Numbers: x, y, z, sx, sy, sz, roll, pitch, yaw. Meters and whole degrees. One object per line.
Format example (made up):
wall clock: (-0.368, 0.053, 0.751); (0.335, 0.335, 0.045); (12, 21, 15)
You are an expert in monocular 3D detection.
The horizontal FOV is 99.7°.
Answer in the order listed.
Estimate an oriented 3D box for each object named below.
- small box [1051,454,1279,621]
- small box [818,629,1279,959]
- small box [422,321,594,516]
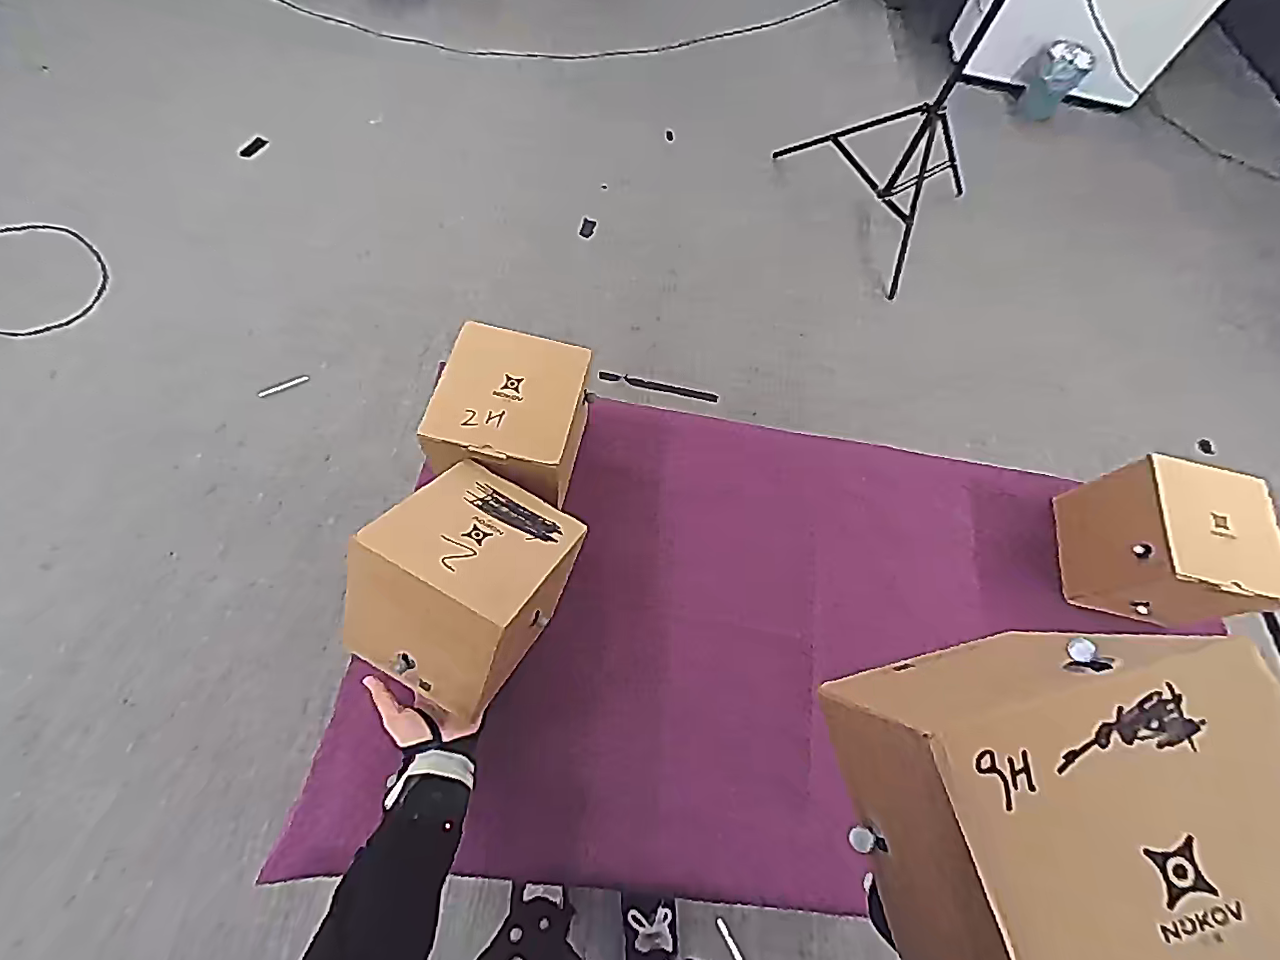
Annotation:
small box: (0.735, 0.090, 0.778); (0.168, 0.176, 0.179); (13, 67, -2)
small box: (0.228, 0.193, 0.312); (0.168, 0.176, 0.179); (-14, 77, -4)
small box: (-0.165, -0.074, 0.721); (0.168, 0.176, 0.179); (13, 65, -2)
